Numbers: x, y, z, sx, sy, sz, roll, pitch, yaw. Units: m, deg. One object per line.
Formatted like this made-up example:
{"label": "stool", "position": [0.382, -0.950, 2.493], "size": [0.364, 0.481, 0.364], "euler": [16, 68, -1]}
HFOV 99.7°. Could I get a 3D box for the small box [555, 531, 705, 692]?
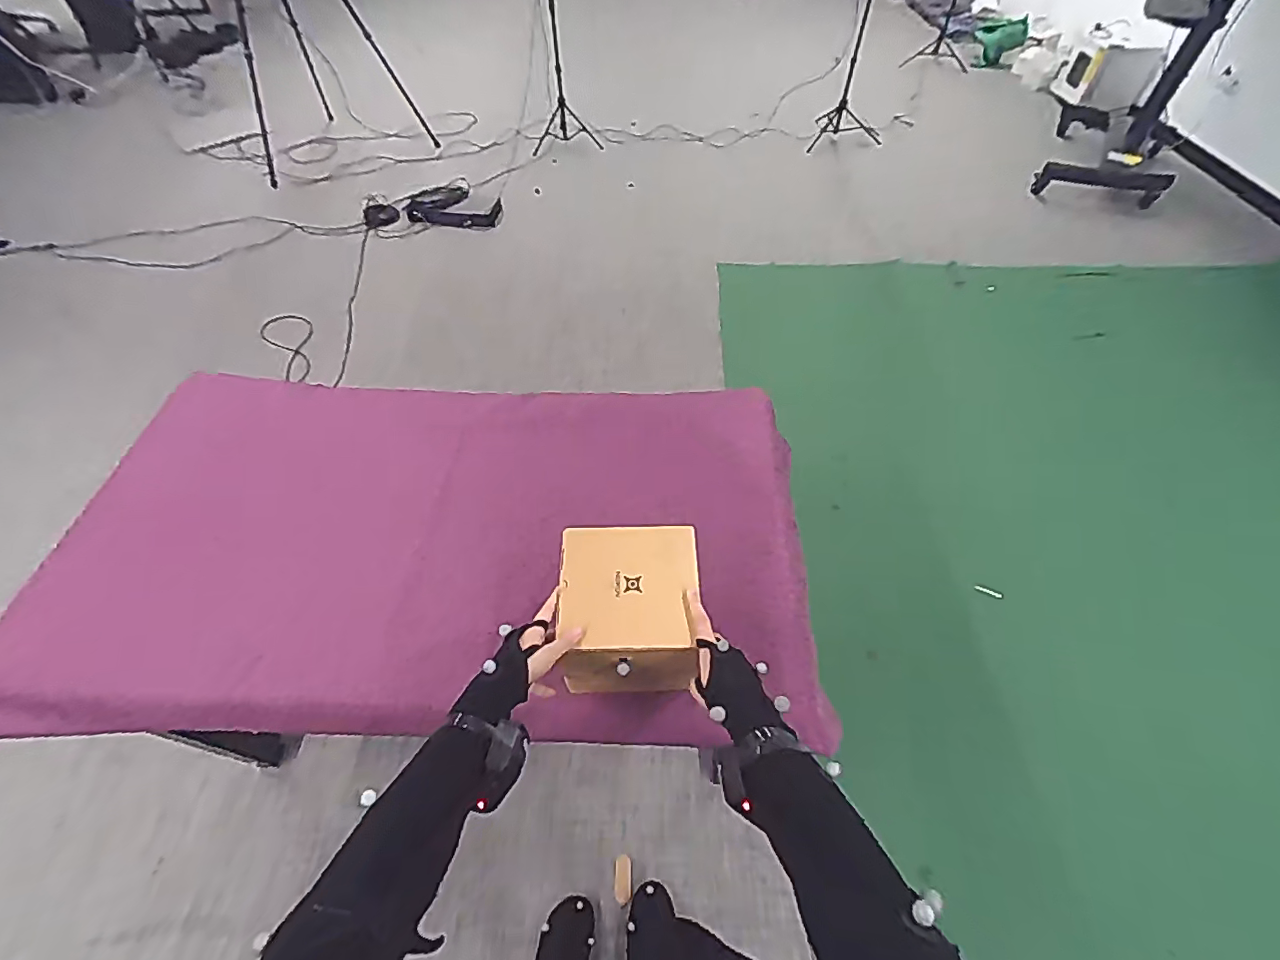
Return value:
{"label": "small box", "position": [-0.011, 0.182, 0.736], "size": [0.179, 0.176, 0.168], "euler": [-2, 53, 1]}
